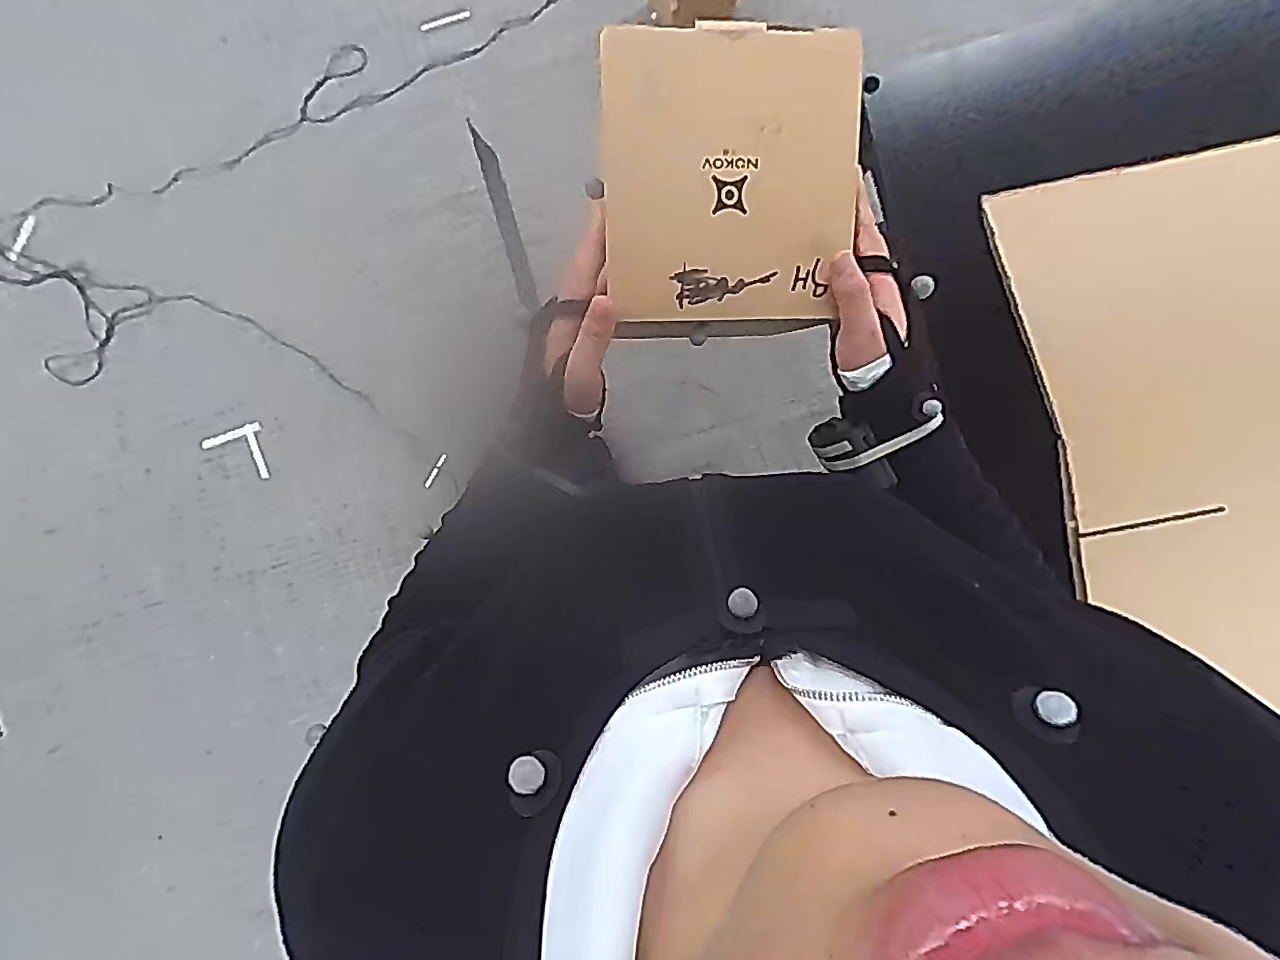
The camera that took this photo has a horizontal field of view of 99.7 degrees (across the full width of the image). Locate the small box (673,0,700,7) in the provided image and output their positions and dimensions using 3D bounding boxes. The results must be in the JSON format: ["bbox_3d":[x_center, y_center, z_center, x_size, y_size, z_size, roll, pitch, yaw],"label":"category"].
[{"bbox_3d":[0.135,-1.223,1.208,0.179,0.176,0.168,-23,92,0],"label":"small box"}]

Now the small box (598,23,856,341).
[{"bbox_3d":[0.051,-0.208,0.425,0.168,0.176,0.179,-3,100,-3],"label":"small box"}]

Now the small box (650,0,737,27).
[{"bbox_3d":[0.132,-1.226,1.371,0.179,0.176,0.168,-20,92,2],"label":"small box"}]
